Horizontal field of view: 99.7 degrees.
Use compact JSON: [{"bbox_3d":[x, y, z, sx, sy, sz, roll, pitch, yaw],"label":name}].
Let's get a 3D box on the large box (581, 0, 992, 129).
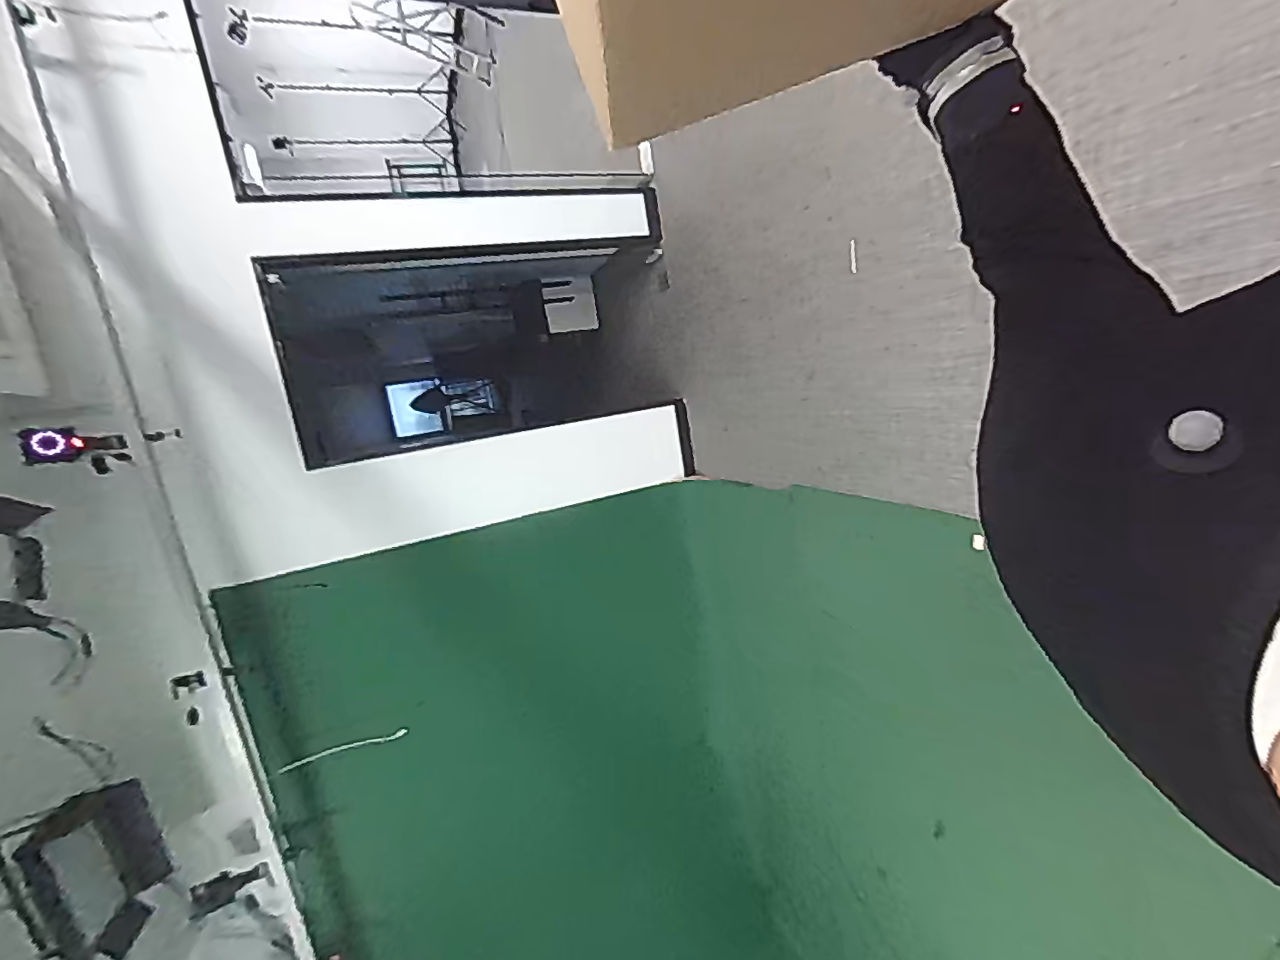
[{"bbox_3d":[0.094,-0.391,0.180,0.408,0.320,0.320,-97,-12,-71],"label":"large box"}]
